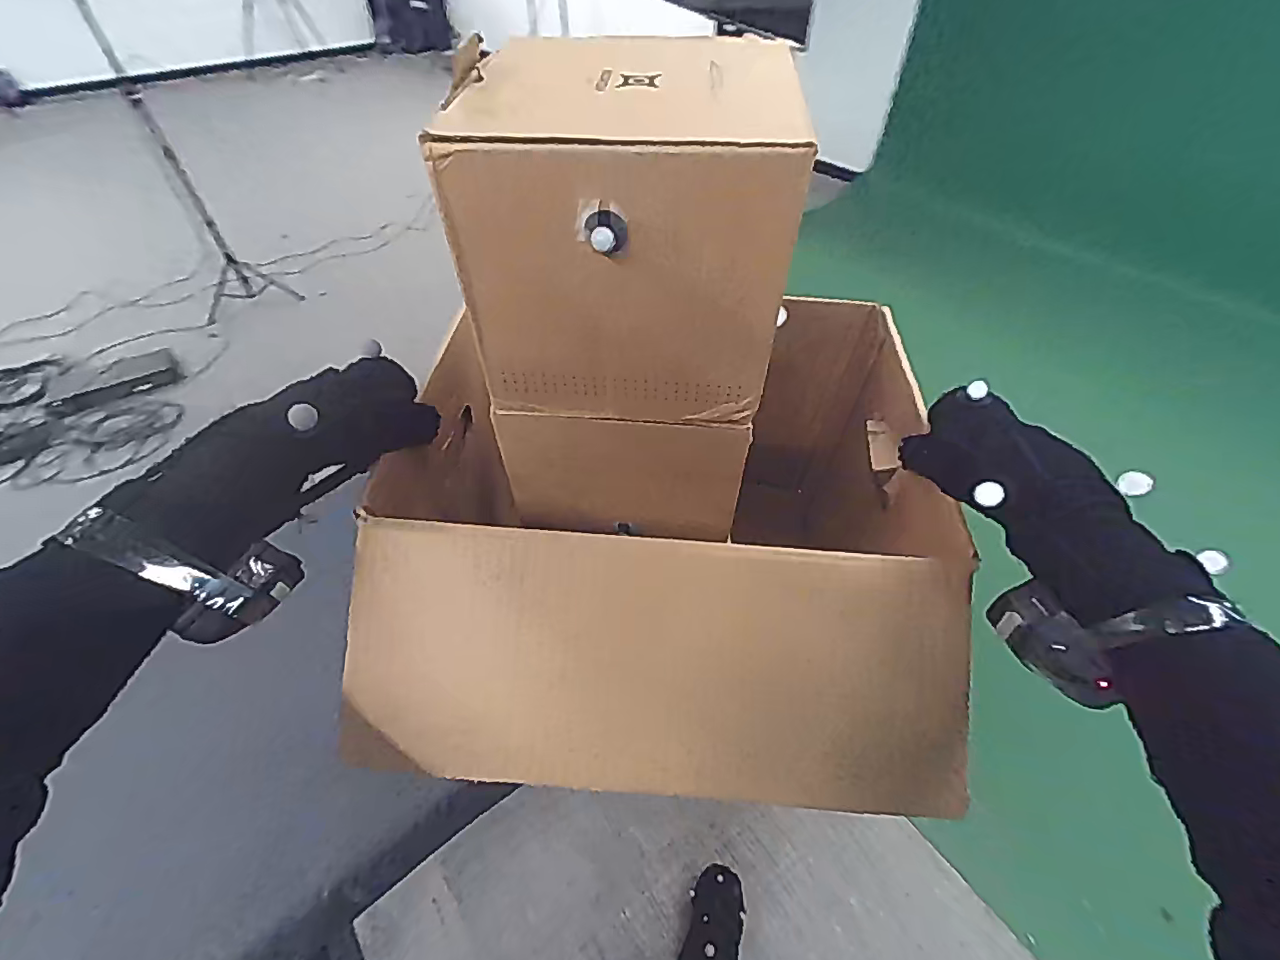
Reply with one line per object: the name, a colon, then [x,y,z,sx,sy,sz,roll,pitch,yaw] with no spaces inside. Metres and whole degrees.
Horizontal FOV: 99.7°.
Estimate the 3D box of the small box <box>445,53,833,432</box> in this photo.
small box: [0.005,-0.147,0.348,0.179,0.176,0.168,4,52,2]
